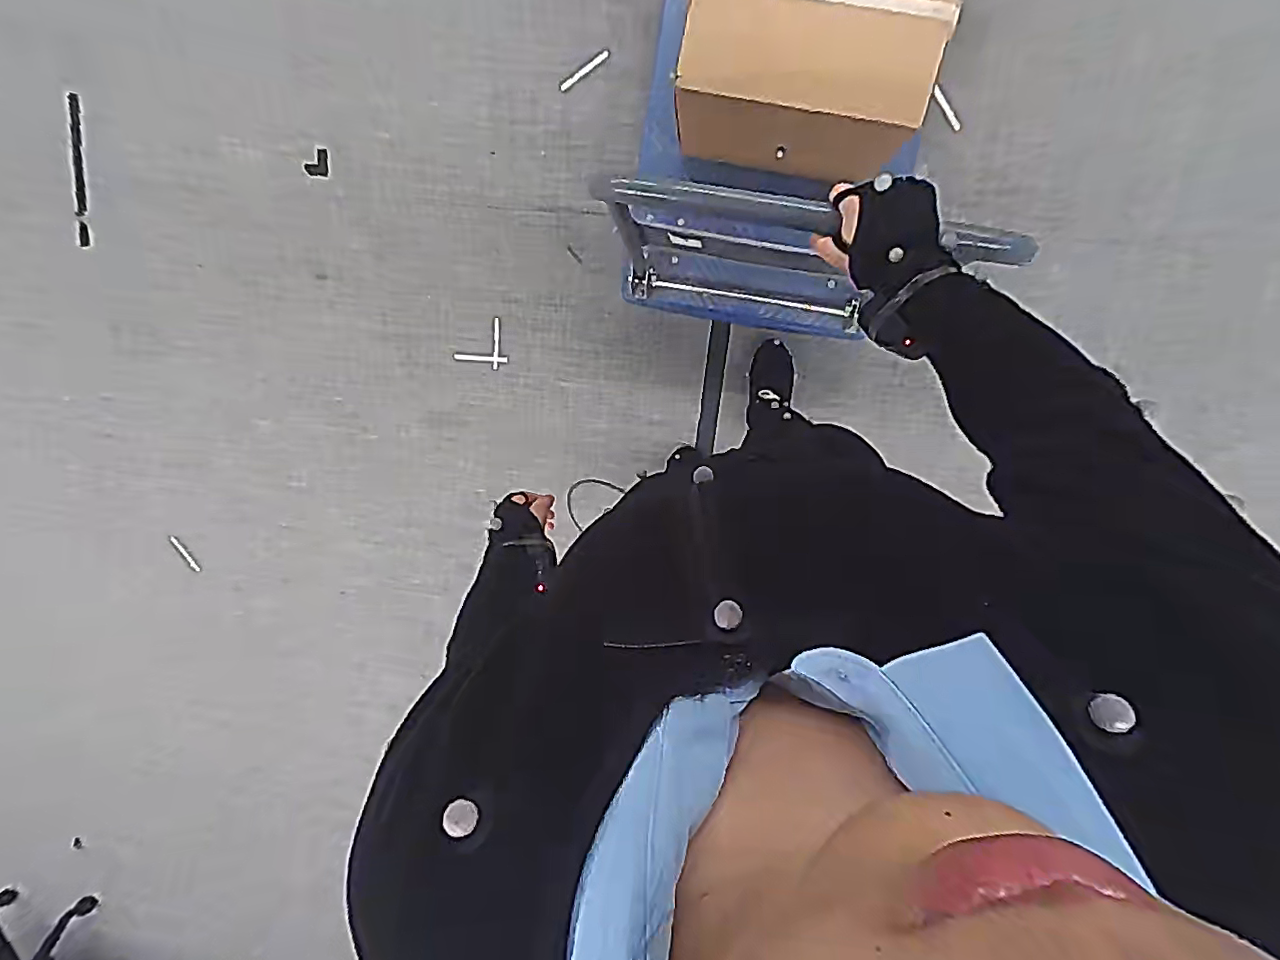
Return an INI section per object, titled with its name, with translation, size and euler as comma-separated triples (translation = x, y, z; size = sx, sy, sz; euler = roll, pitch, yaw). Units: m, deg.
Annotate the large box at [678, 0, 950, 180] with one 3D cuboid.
[large box]
translation = 0.303, -0.791, 0.997
size = 0.408, 0.320, 0.320
euler = 13, 102, 5
